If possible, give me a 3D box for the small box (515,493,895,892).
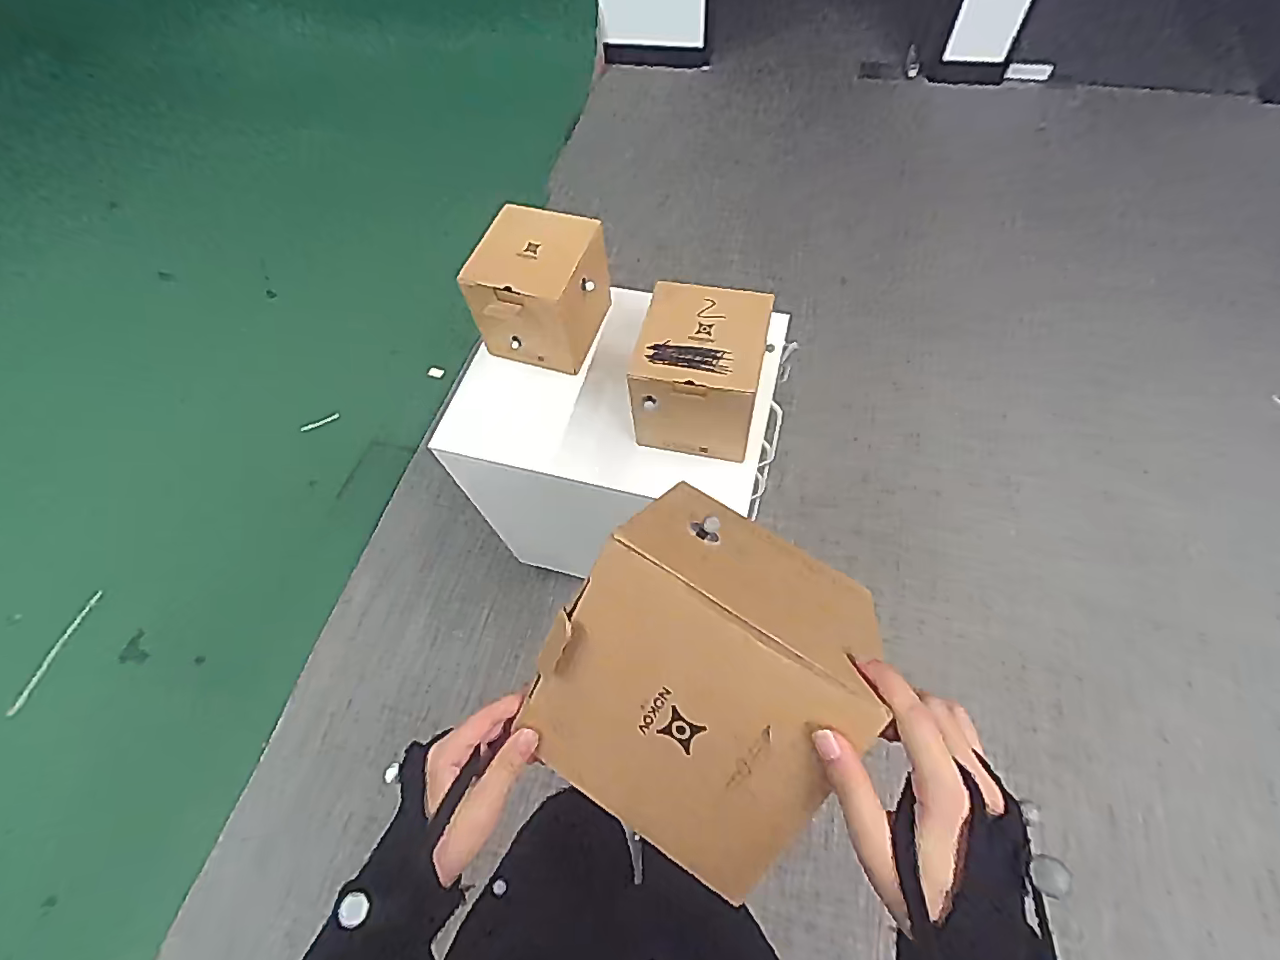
[{"bbox_3d":[0.048,0.123,0.389,0.179,0.176,0.168,29,109,10],"label":"small box"}]

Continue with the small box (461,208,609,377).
[{"bbox_3d":[-0.156,-0.300,0.878,0.168,0.176,0.179,16,65,11],"label":"small box"}]
